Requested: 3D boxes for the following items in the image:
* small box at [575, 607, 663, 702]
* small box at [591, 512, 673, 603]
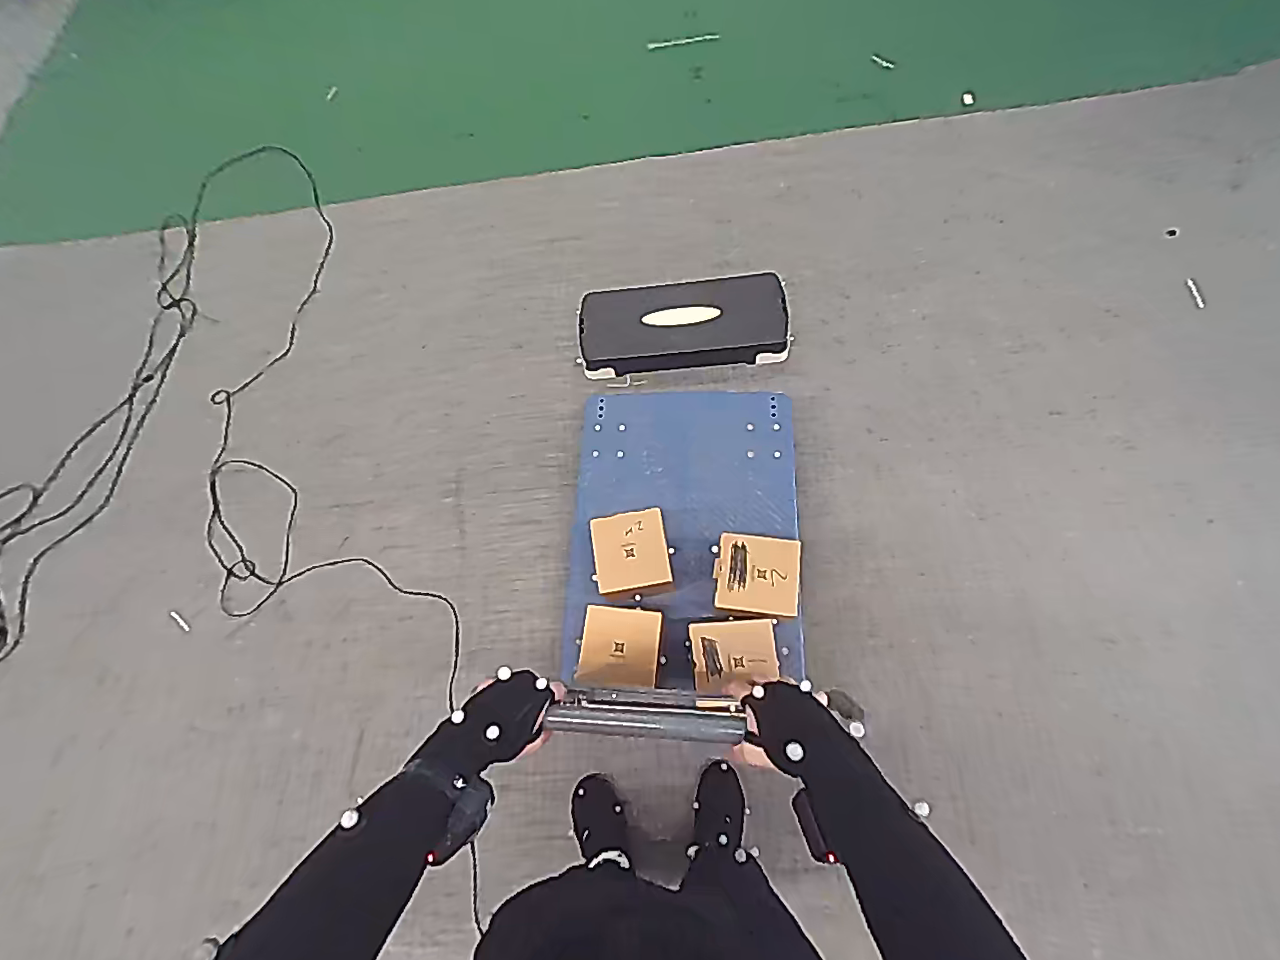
[{"bbox_3d":[-0.039,0.394,1.215,0.168,0.176,0.179,5,70,8],"label":"small box"},{"bbox_3d":[-0.015,0.192,1.287,0.168,0.176,0.179,-10,68,2],"label":"small box"}]
